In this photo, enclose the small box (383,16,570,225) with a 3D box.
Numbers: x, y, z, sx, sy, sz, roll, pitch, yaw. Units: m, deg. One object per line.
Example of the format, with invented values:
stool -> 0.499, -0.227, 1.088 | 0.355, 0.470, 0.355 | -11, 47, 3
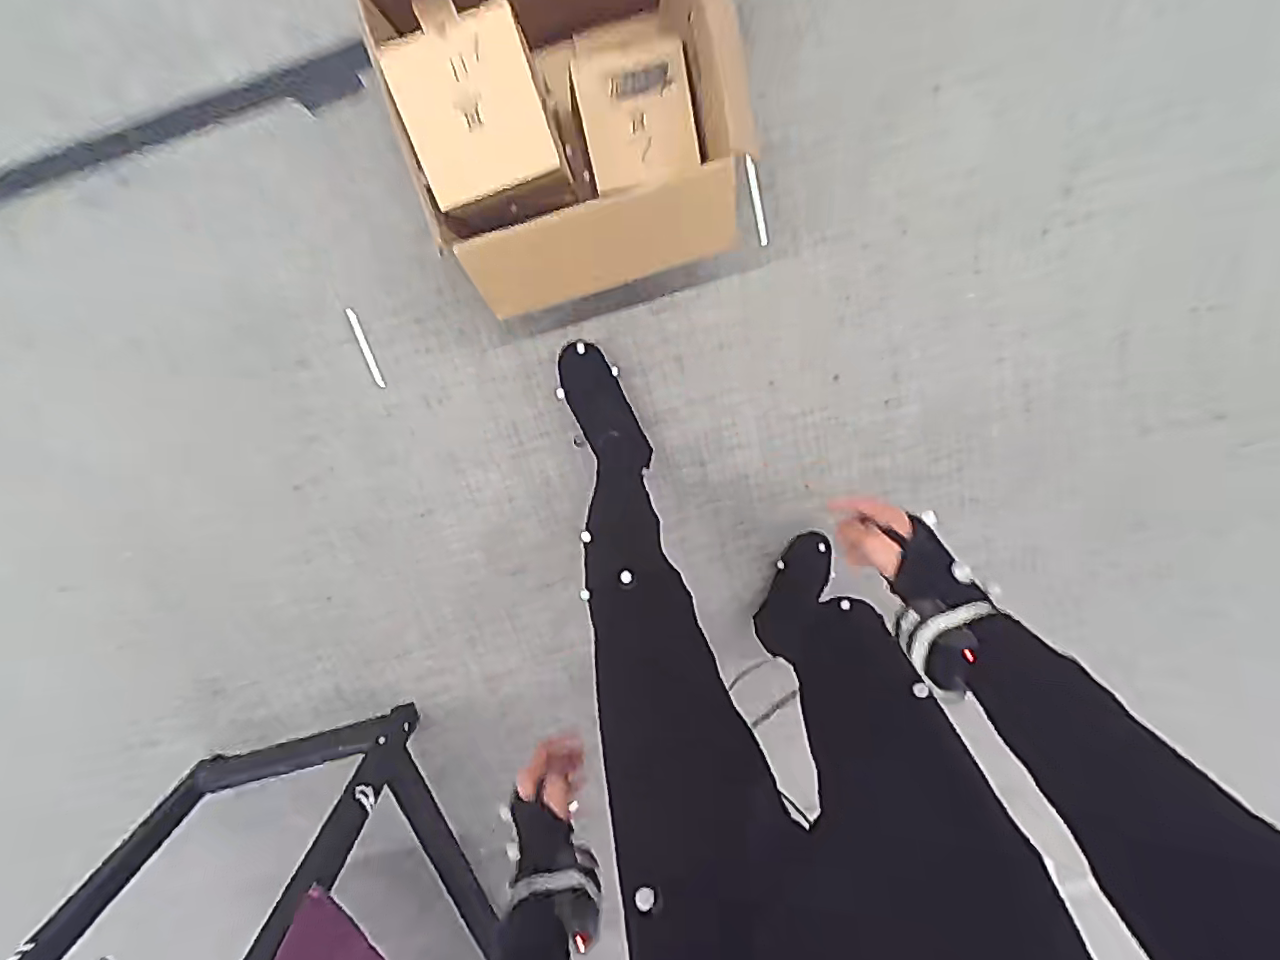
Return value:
small box -> -0.201, -0.459, 0.728 | 0.168, 0.176, 0.179 | -17, 107, 4
